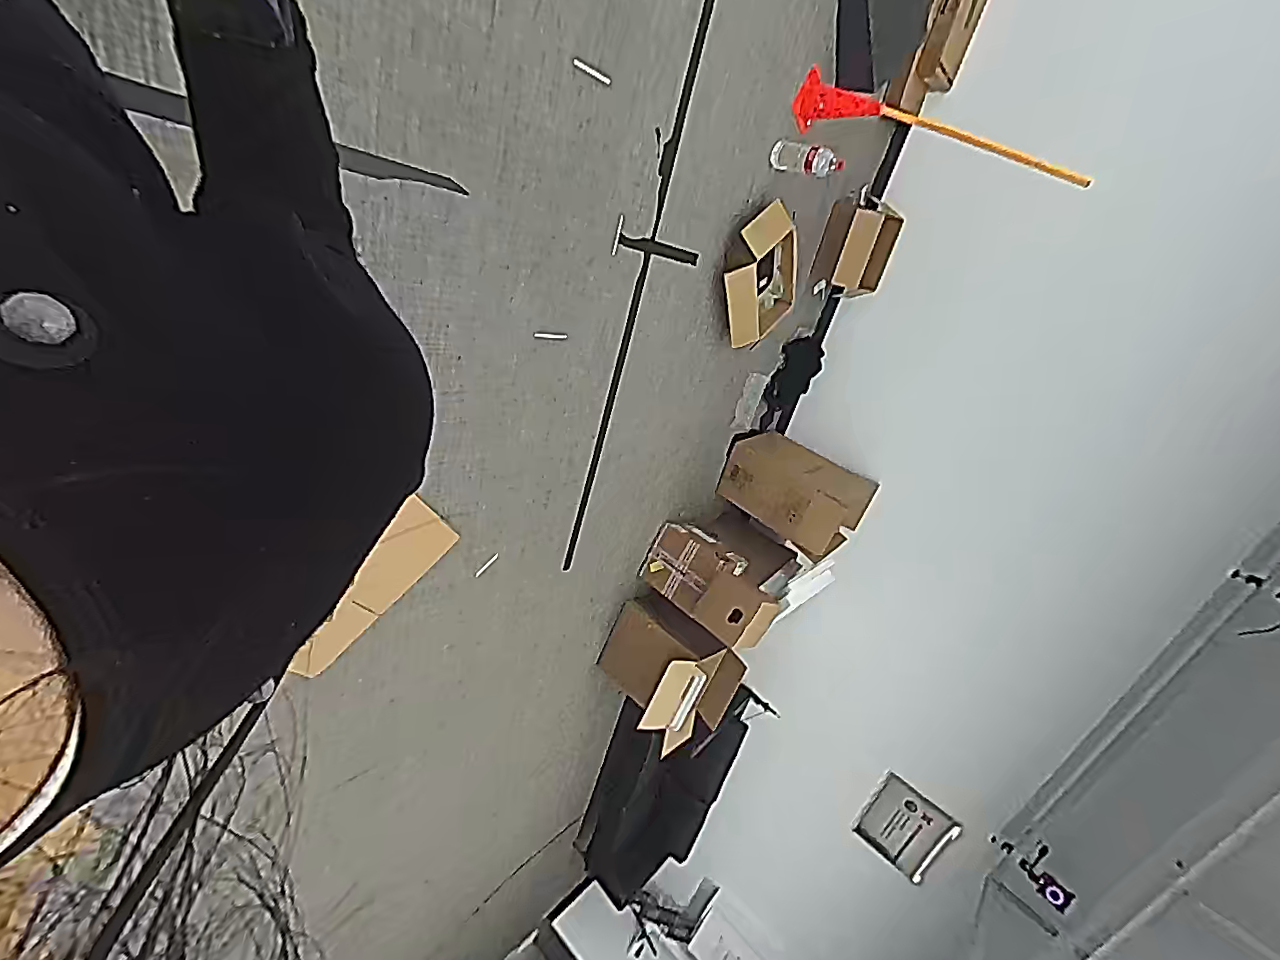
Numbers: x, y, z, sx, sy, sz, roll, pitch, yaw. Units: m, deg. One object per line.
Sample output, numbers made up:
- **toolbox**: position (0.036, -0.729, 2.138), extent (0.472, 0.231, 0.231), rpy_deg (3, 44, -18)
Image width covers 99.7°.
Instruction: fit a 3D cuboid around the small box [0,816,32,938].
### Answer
- **small box**: position (-1.294, 0.778, 1.014), extent (0.168, 0.176, 0.179), rpy_deg (-17, 132, -46)
